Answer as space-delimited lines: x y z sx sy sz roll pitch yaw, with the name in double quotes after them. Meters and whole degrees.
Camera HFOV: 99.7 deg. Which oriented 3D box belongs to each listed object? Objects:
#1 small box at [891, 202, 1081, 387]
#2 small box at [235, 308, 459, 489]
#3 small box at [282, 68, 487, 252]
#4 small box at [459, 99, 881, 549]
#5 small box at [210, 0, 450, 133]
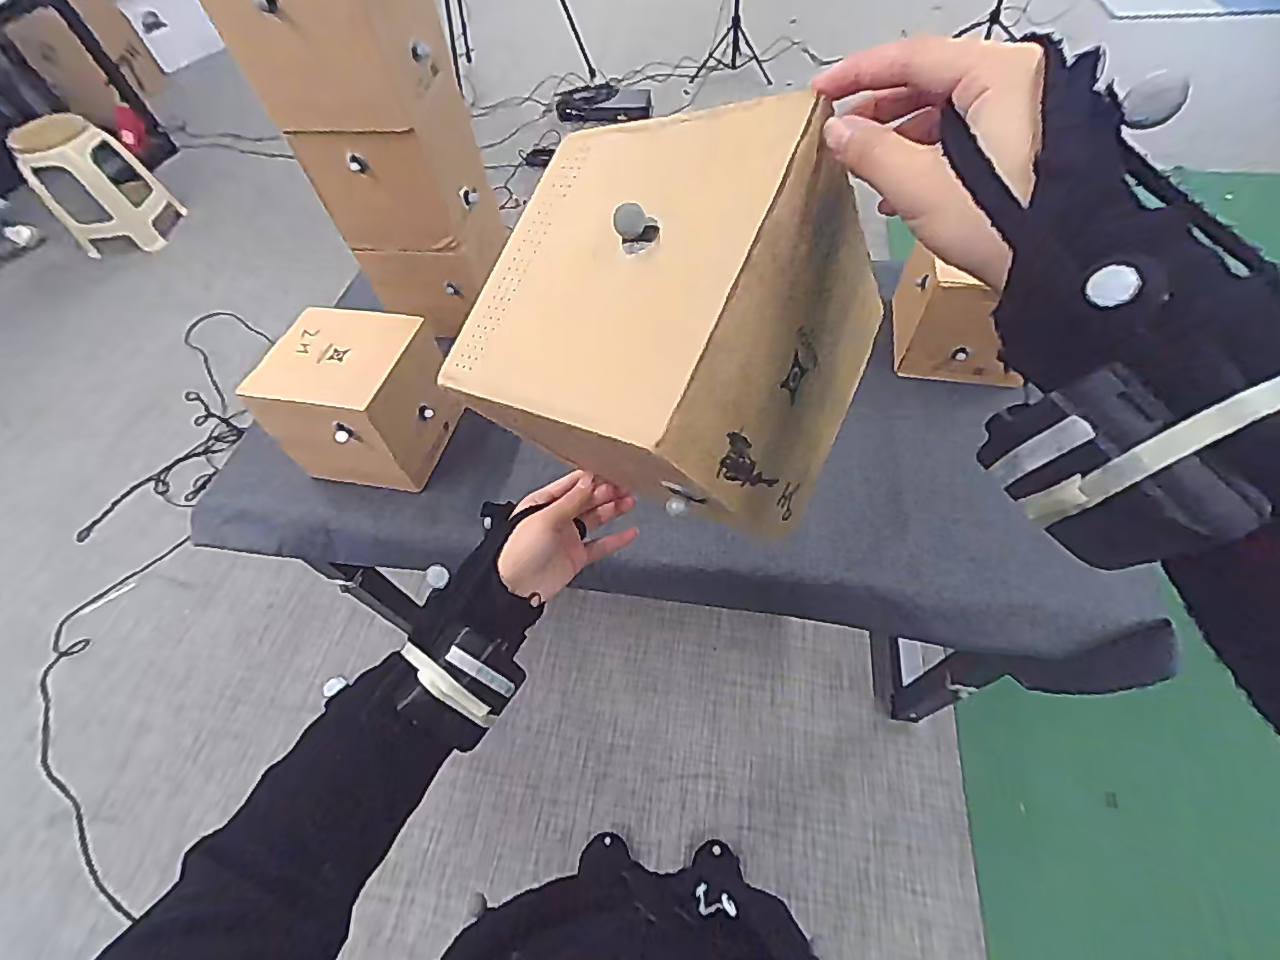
0.465 -0.259 0.761 0.168 0.176 0.179 8 60 10 "small box"
-0.370 -0.105 0.727 0.179 0.176 0.168 8 55 9 "small box"
-0.336 -0.440 0.752 0.179 0.176 0.168 3 60 5 "small box"
0.022 -0.083 0.333 0.176 0.168 0.179 20 81 38 "small box"
-0.344 -0.519 0.608 0.179 0.176 0.168 5 60 6 "small box"
